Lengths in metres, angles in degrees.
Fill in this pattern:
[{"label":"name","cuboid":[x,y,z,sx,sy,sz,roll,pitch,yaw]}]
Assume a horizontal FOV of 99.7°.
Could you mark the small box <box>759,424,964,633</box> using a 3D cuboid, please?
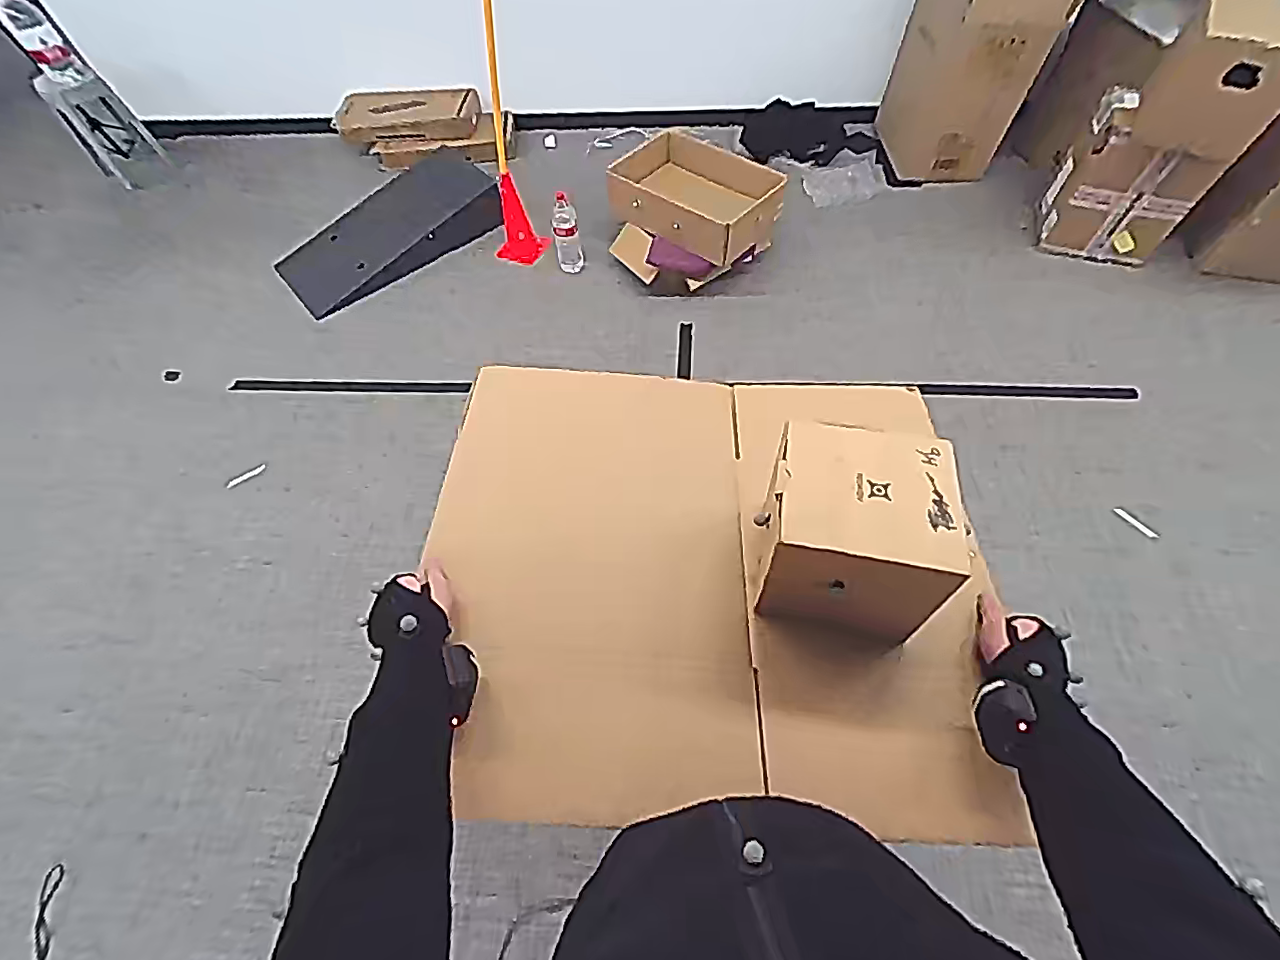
[{"label":"small box","cuboid":[0.237,0.060,0.621,0.179,0.176,0.168,8,55,10]}]
